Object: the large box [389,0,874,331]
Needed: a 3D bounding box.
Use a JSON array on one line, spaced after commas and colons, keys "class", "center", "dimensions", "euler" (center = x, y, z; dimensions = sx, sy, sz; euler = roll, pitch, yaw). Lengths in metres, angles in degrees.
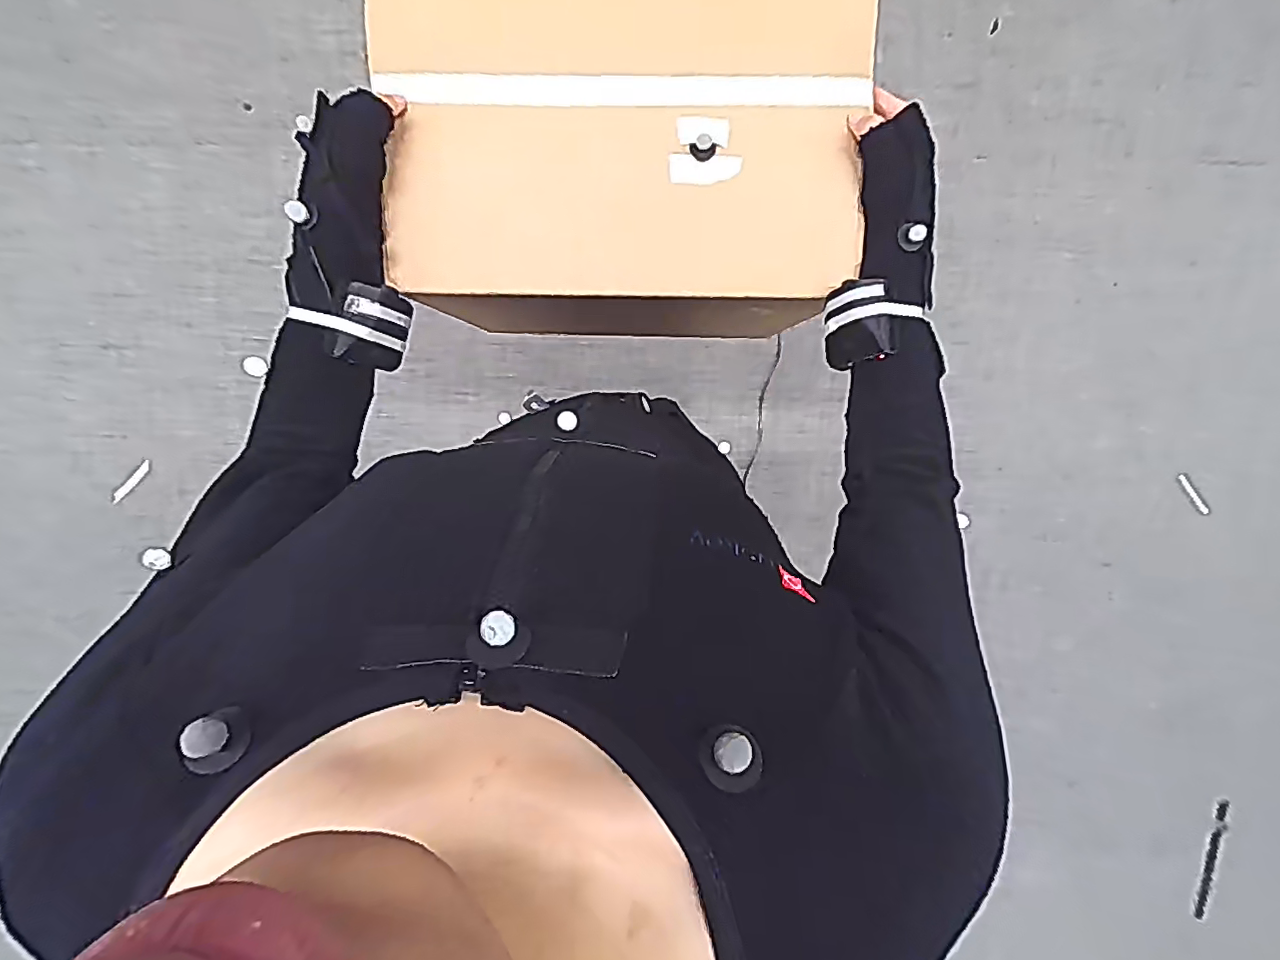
[{"class": "large box", "center": [-0.010, -0.344, 0.598], "dimensions": [0.408, 0.320, 0.320], "euler": [1, 99, 0]}]
